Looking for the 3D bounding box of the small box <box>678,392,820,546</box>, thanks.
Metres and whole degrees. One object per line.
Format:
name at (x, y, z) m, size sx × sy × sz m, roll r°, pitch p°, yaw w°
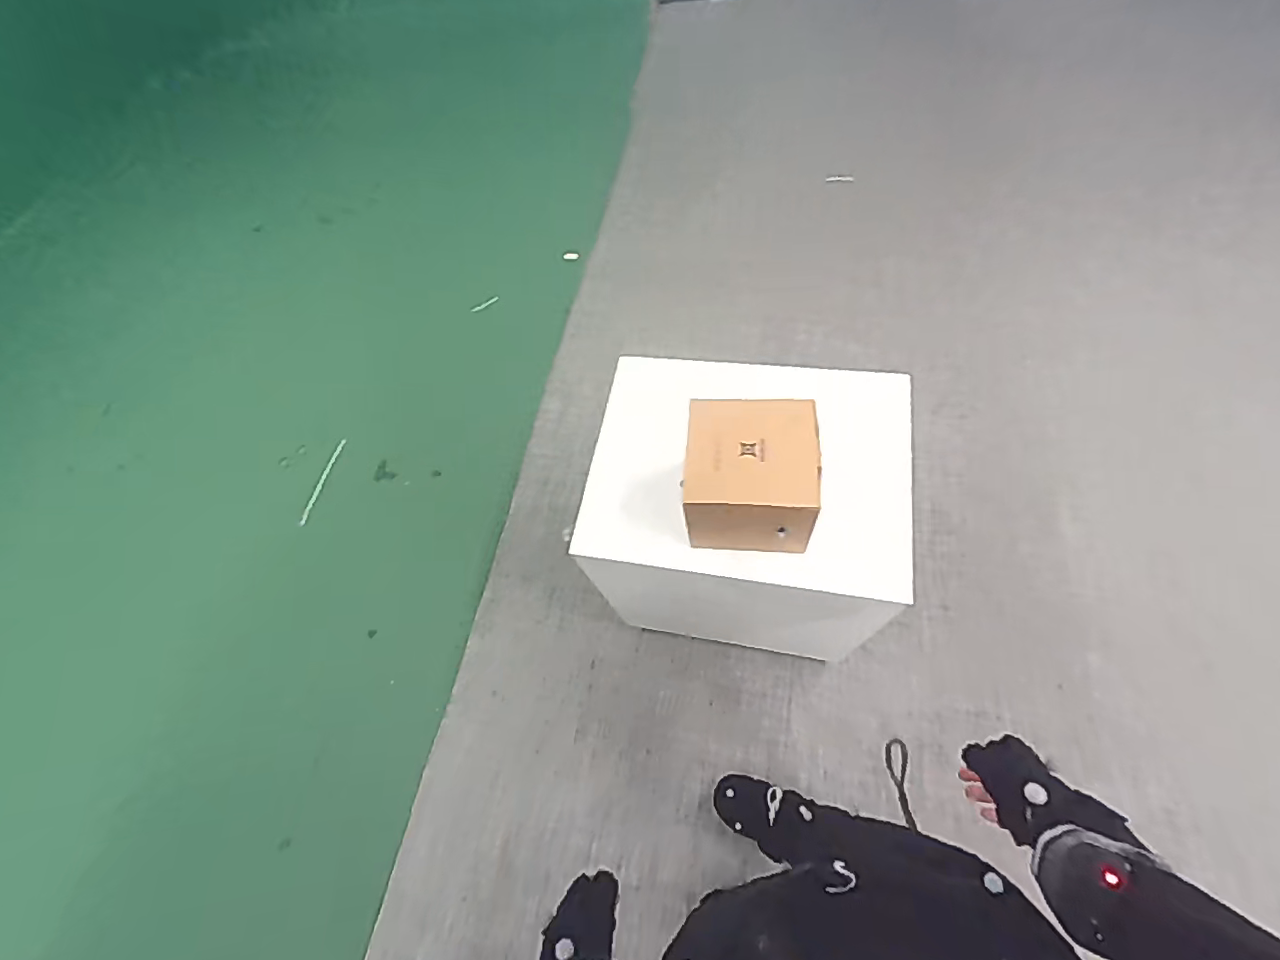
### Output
small box at (0.155, -0.010, 0.777) m, size 0.179 × 0.176 × 0.168 m, roll 0°, pitch 63°, yaw 12°
